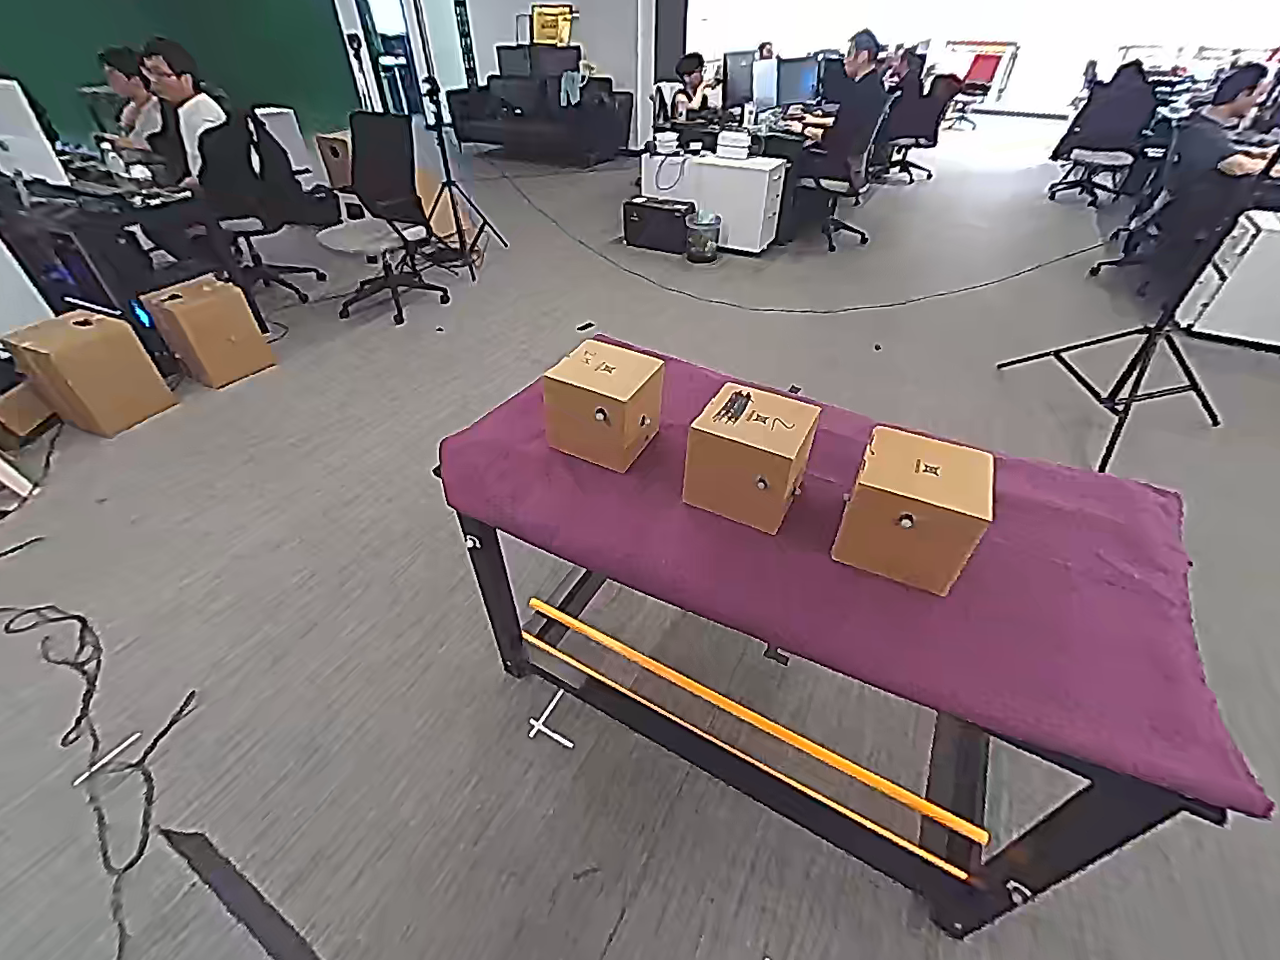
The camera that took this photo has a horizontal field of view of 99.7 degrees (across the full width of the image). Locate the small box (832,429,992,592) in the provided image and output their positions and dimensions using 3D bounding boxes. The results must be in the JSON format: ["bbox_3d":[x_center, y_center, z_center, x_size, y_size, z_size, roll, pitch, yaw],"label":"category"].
[{"bbox_3d":[0.425,0.050,0.856,0.179,0.176,0.168,18,43,21],"label":"small box"}]

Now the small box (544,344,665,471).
[{"bbox_3d":[-0.067,-0.141,1.069,0.179,0.176,0.168,20,43,18],"label":"small box"}]
